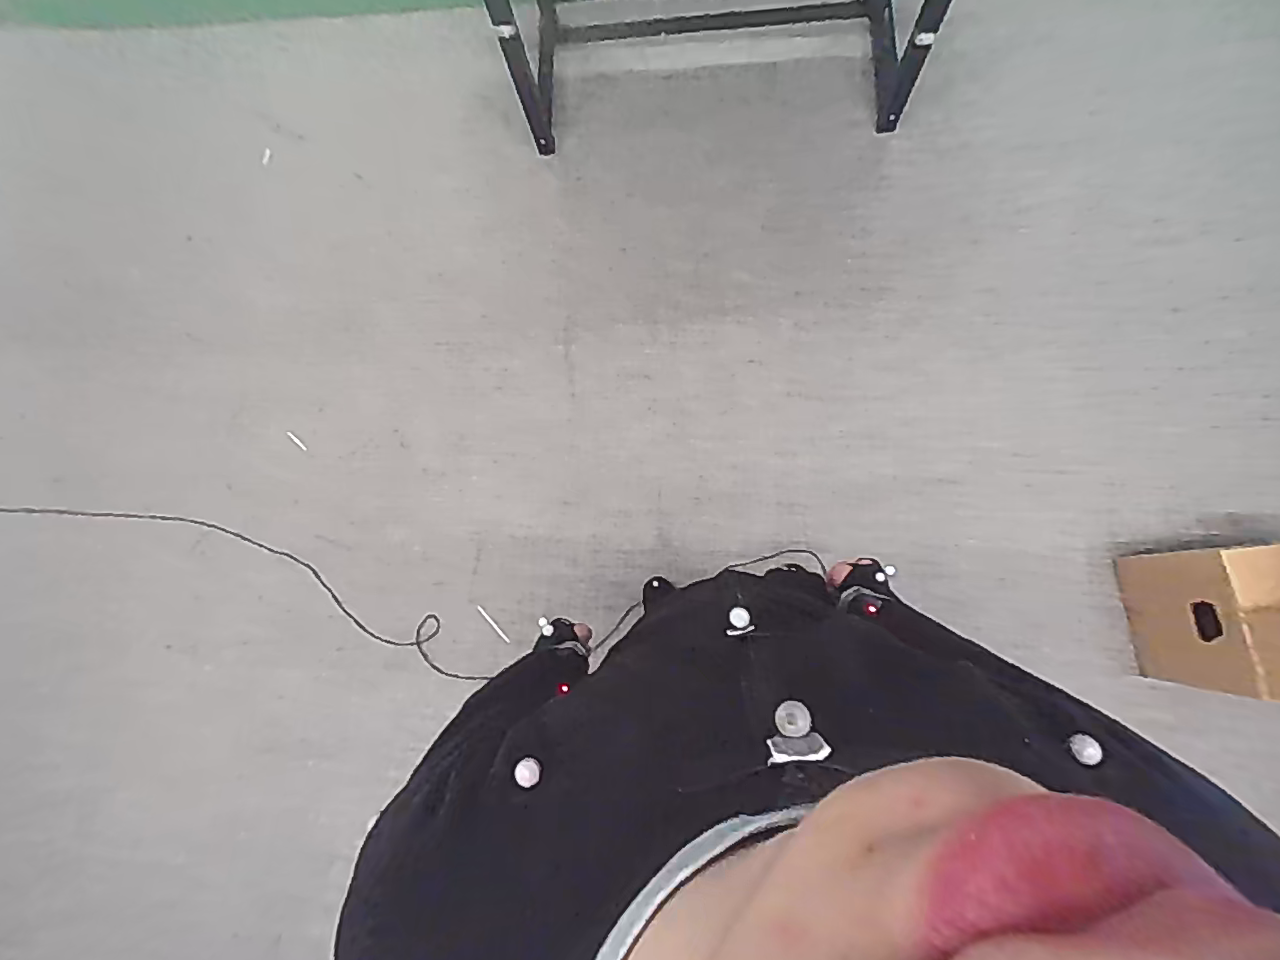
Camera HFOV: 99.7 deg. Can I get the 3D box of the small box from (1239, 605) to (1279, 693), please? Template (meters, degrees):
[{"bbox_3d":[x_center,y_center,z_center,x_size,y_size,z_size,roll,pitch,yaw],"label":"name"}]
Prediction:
[{"bbox_3d":[1.341,0.332,1.047,0.168,0.176,0.179,-7,80,4],"label":"small box"}]
